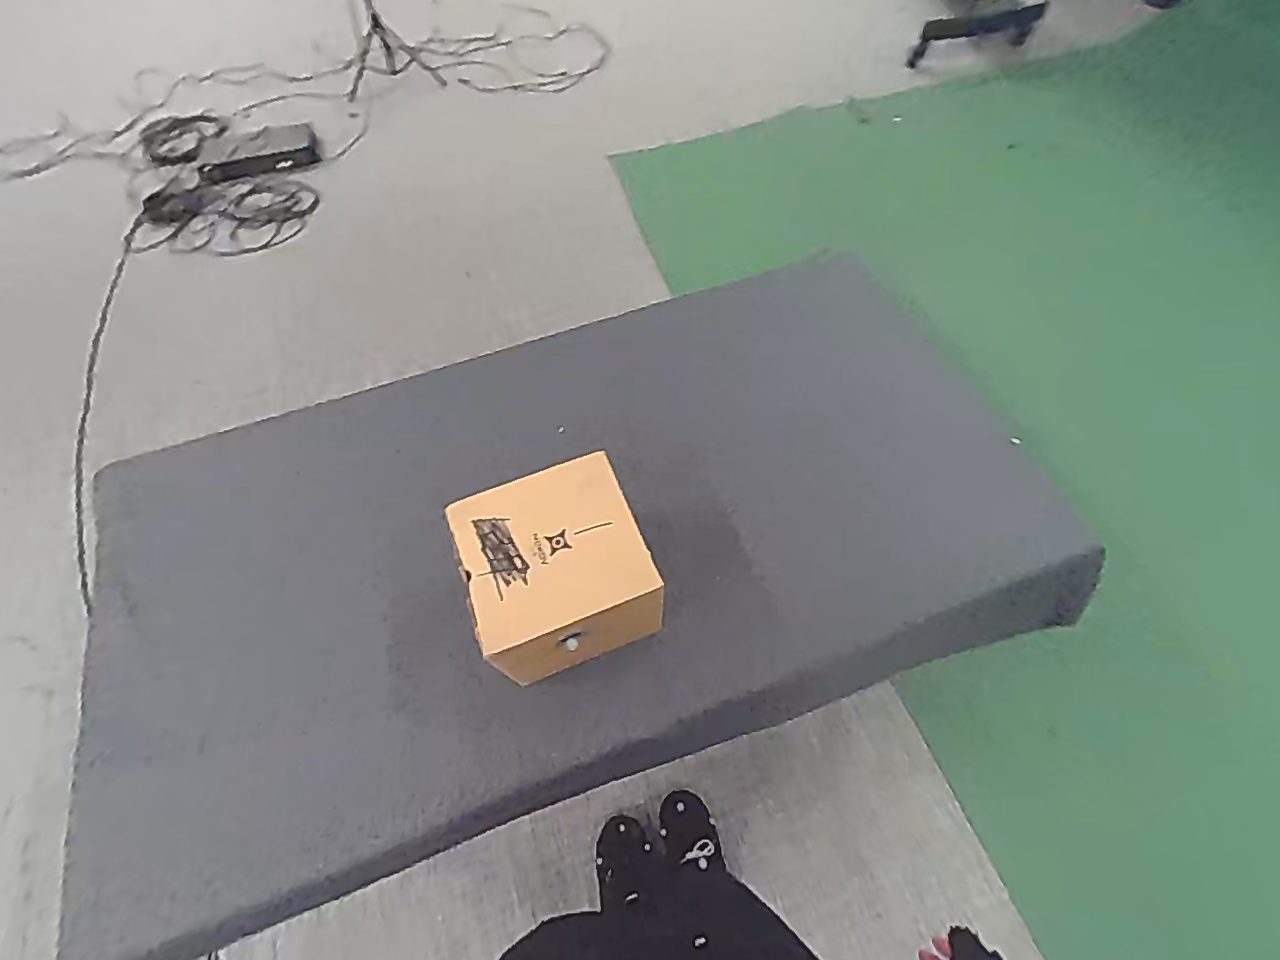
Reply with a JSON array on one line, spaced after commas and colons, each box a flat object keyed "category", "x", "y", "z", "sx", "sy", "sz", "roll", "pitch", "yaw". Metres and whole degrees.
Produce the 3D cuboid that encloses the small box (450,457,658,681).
[{"category": "small box", "x": -0.088, "y": 0.107, "z": 0.610, "sx": 0.179, "sy": 0.176, "sz": 0.168, "roll": -20, "pitch": 62, "yaw": -10}]
